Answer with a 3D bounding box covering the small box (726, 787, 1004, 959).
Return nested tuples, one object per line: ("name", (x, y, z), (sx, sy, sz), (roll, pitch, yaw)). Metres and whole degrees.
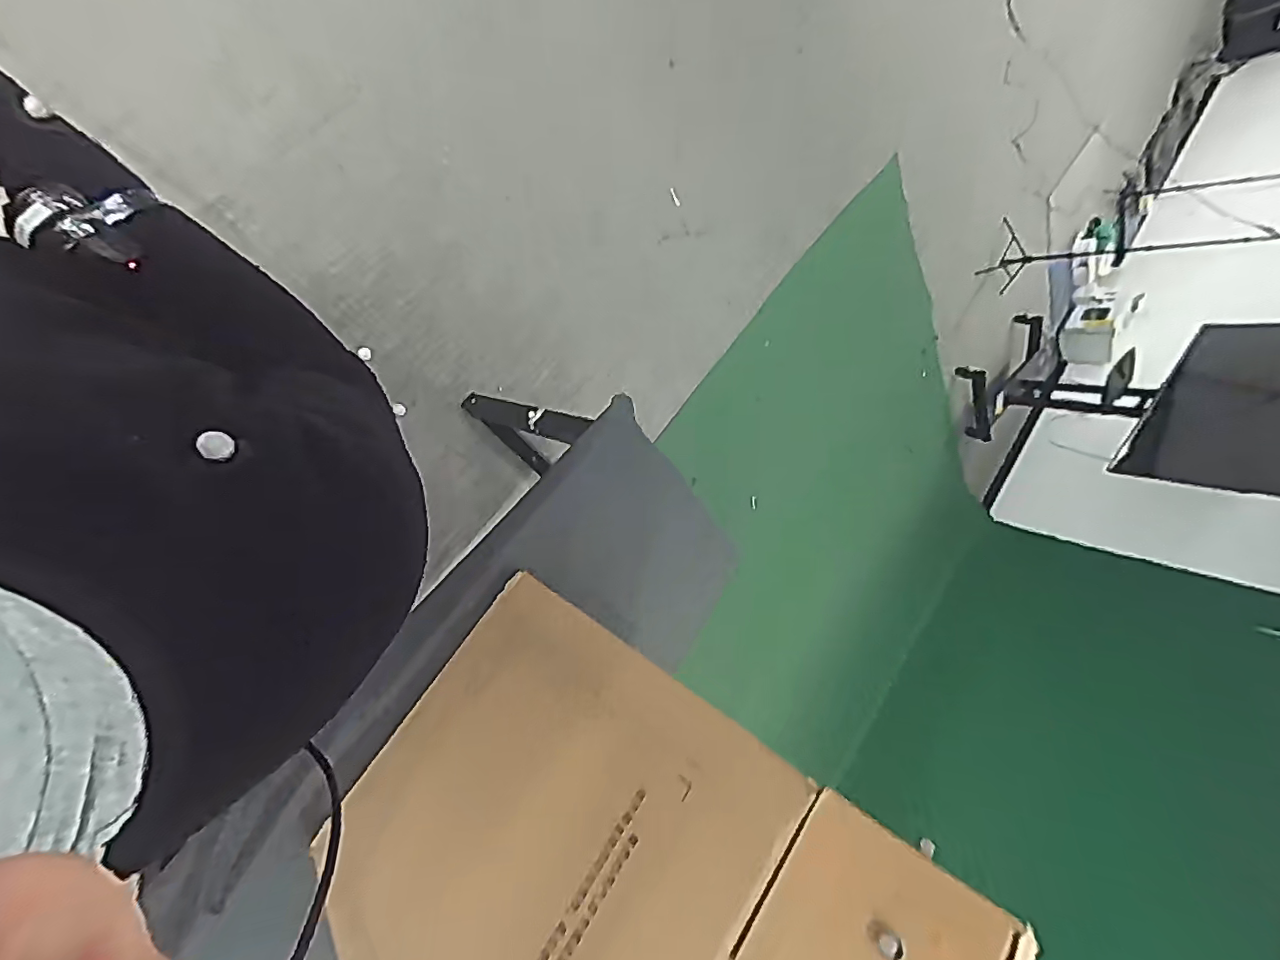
("small box", (0.210, 0.429, 0.507), (0.179, 0.176, 0.168), (-55, 129, -16))
